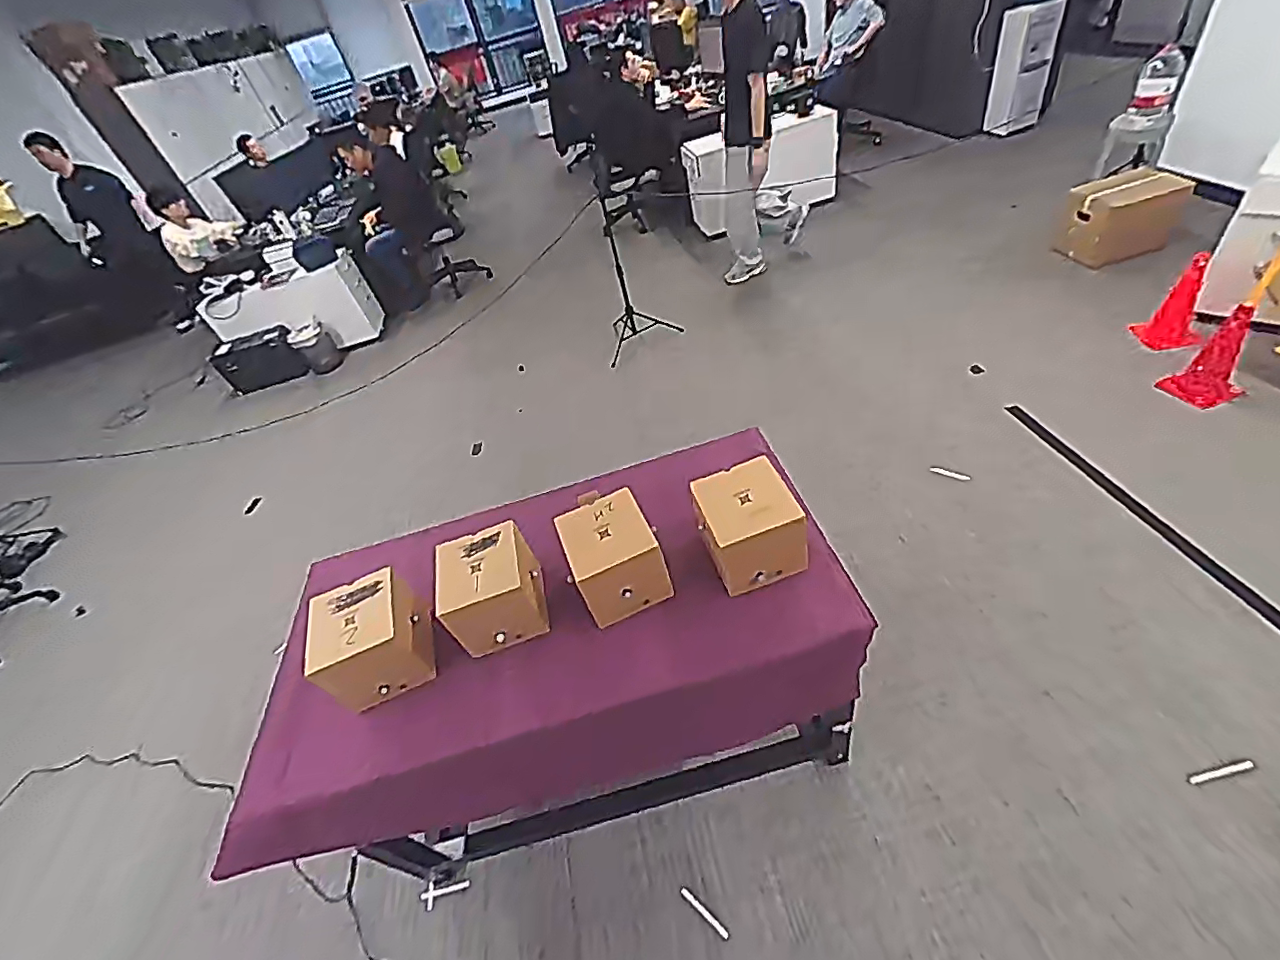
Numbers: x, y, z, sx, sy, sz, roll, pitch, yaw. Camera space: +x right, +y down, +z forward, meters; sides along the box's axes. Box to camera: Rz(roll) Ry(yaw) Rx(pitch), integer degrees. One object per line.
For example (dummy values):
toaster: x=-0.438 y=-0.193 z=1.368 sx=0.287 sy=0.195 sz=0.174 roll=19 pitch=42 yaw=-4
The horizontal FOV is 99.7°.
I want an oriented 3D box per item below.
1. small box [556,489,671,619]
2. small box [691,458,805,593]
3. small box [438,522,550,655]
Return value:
small box: x=-0.050 y=0.155 z=1.091 sx=0.168 sy=0.176 sz=0.179 roll=-23 pitch=43 yaw=-6
small box: x=0.214 y=0.091 z=1.072 sx=0.168 sy=0.176 sz=0.179 roll=-20 pitch=43 yaw=-1
small box: x=-0.295 y=0.222 z=1.103 sx=0.168 sy=0.176 sz=0.179 roll=-20 pitch=44 yaw=-2
